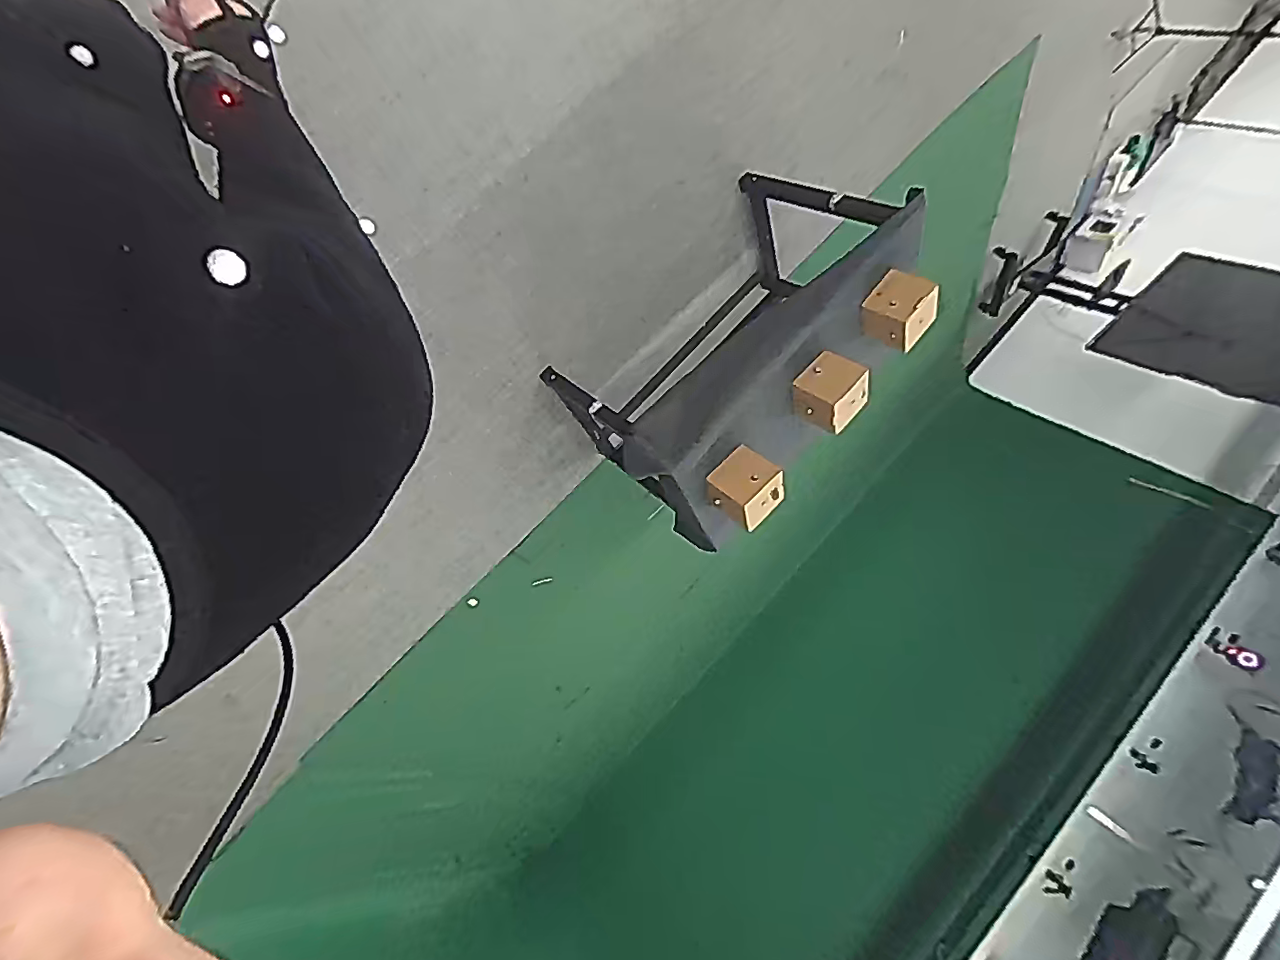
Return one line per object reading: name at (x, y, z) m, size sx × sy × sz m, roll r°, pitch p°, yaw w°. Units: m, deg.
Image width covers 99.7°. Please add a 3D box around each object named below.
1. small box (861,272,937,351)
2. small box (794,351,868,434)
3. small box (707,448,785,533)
small box at (0.865, -0.573, 1.818) m, size 0.168 × 0.176 × 0.179 m, roll -50°, pitch 147°, yaw -1°
small box at (0.627, -0.291, 1.789) m, size 0.179 × 0.176 × 0.168 m, roll -45°, pitch 145°, yaw -10°
small box at (0.341, 0.028, 1.735) m, size 0.179 × 0.176 × 0.168 m, roll -43°, pitch 144°, yaw -14°
